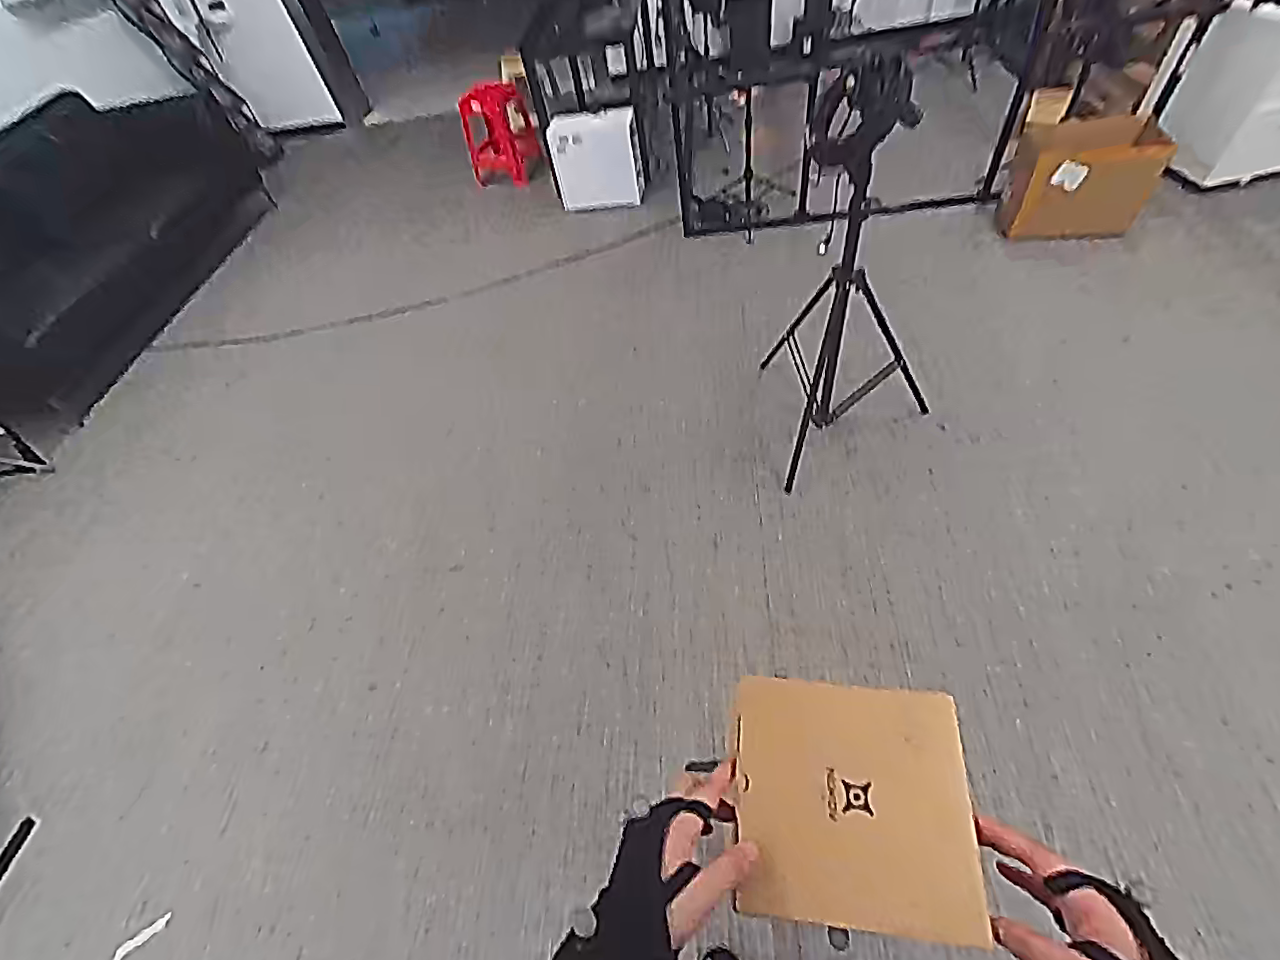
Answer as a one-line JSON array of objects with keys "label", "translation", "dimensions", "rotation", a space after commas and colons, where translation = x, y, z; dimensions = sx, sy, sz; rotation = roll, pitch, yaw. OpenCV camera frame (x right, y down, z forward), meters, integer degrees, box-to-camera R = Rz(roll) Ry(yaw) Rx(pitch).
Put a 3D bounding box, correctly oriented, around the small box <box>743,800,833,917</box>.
[{"label": "small box", "translation": [0.301, 0.785, 1.125], "dimensions": [0.168, 0.176, 0.179], "rotation": [0, 53, 10]}]
